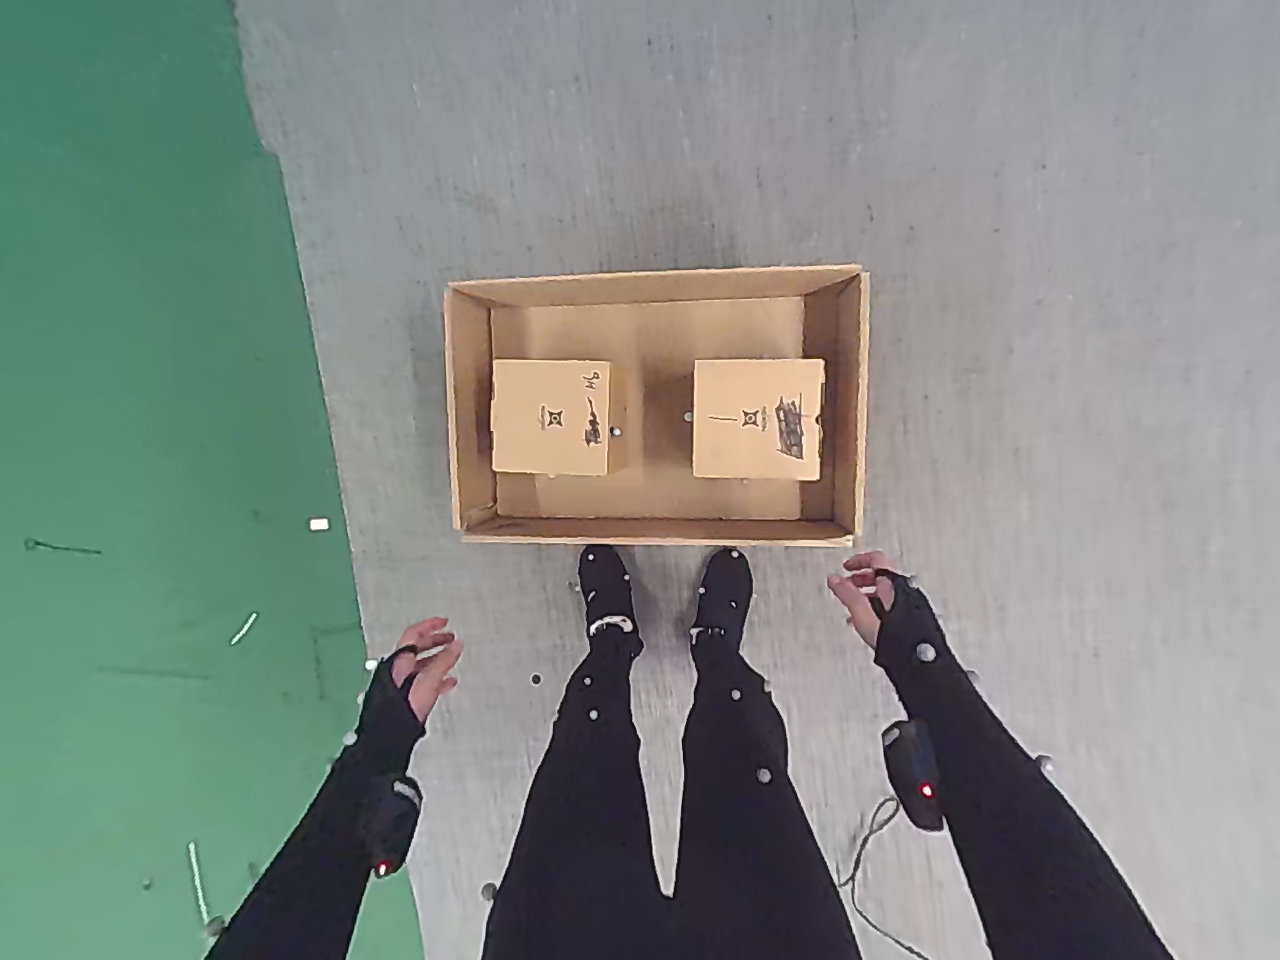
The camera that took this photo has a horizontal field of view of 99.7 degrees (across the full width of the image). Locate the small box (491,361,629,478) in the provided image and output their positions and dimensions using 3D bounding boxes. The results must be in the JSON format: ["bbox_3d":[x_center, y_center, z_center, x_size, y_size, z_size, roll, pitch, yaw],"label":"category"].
[{"bbox_3d":[-0.120,-0.094,0.862,0.179,0.176,0.168,3,95,8],"label":"small box"}]
